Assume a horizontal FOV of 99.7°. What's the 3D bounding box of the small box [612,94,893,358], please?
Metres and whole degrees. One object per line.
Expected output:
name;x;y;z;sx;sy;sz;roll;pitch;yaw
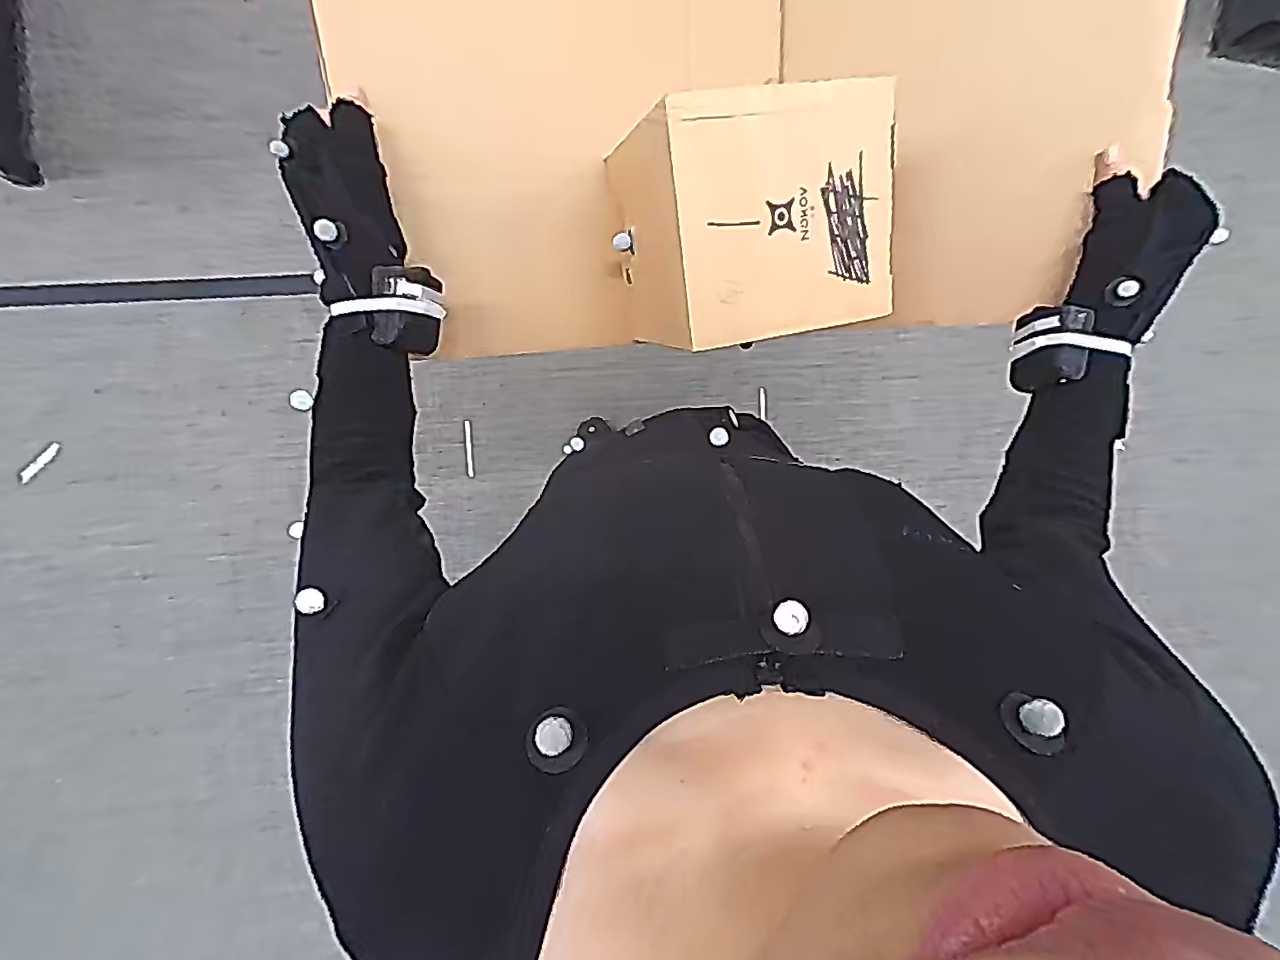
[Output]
small box;0.087;-0.208;0.469;0.179;0.176;0.168;-13;110;-12
